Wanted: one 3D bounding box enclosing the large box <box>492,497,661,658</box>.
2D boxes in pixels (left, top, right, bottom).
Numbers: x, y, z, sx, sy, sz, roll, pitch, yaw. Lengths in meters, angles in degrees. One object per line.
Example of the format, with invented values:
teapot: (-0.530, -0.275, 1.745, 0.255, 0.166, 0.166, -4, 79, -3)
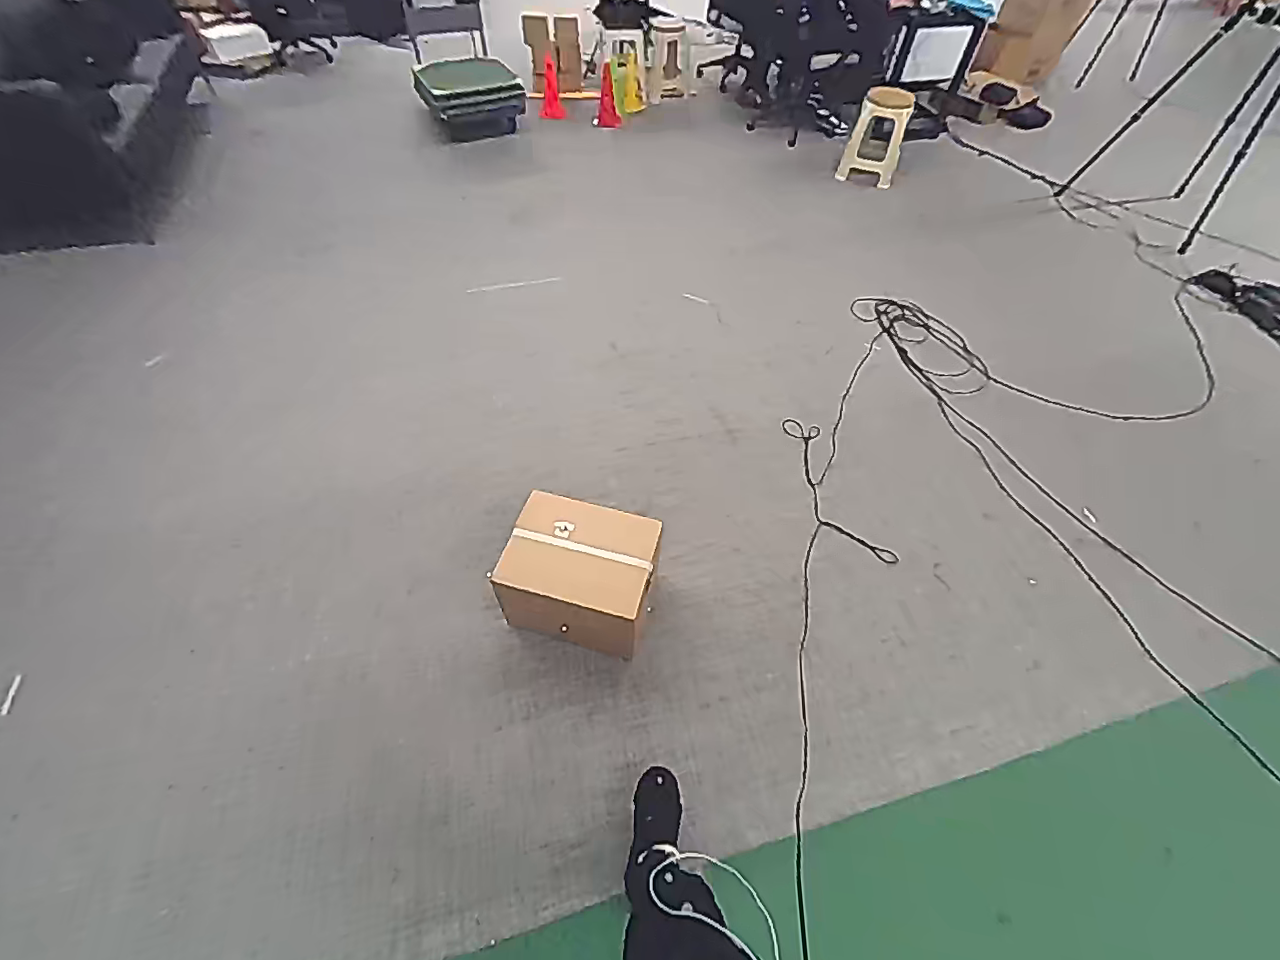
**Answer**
large box: (-0.166, 0.295, 1.615, 0.408, 0.320, 0.320, 13, 53, 9)
